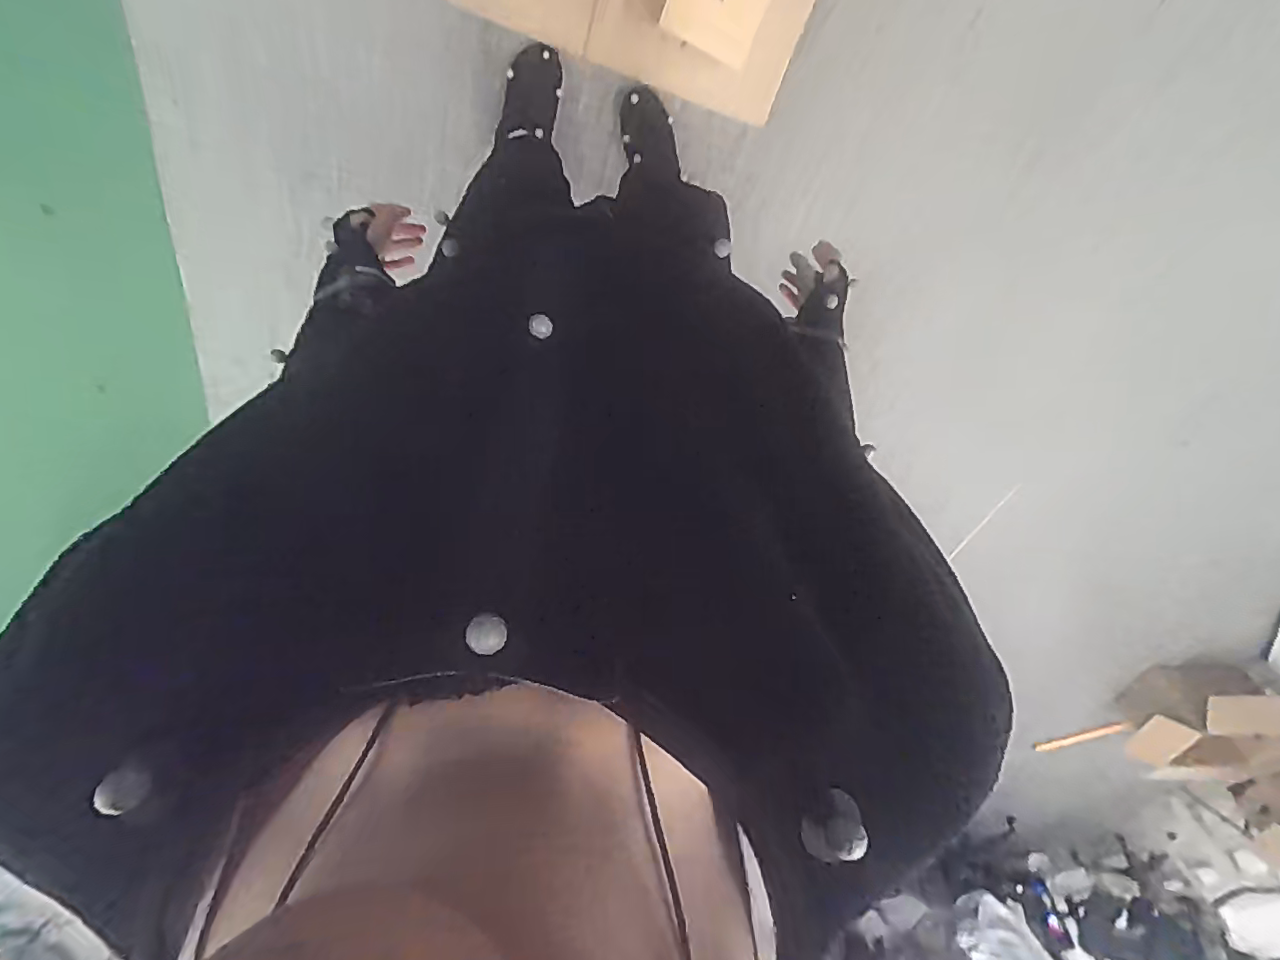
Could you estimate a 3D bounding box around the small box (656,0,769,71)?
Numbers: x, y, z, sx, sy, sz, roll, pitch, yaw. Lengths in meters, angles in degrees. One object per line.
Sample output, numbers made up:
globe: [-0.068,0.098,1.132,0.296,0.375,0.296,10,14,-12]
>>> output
small box: [0.136,-0.871,0.967,0.168,0.176,0.179,17,125,-15]
